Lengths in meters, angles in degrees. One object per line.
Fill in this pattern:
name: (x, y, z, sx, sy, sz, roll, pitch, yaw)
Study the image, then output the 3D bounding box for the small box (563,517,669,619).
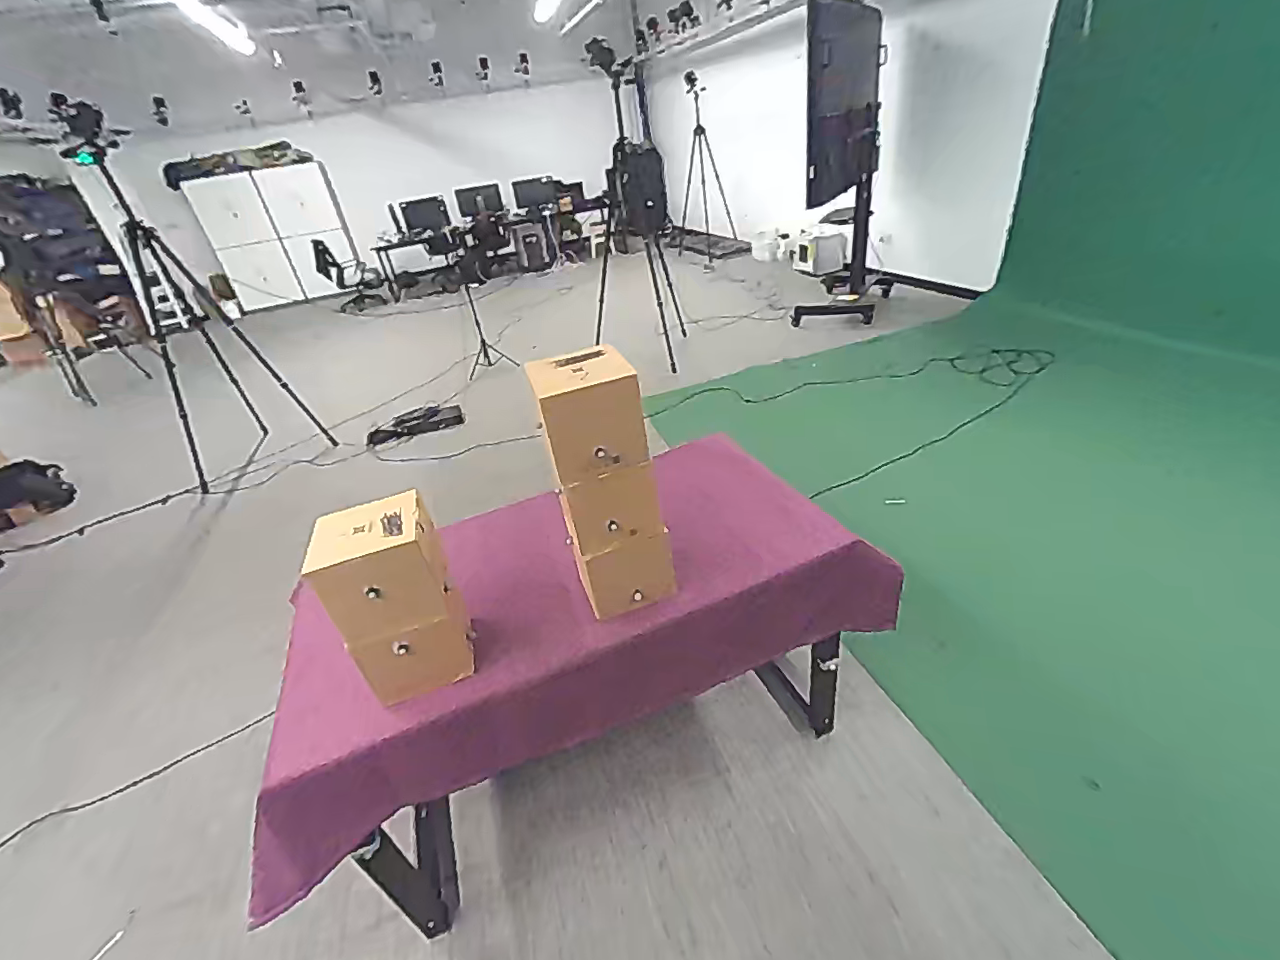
small box: (-0.047, 0.158, 1.134, 0.179, 0.176, 0.168, -17, 33, -13)

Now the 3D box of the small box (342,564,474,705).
small box: (-0.432, 0.292, 1.027, 0.179, 0.176, 0.168, -17, 34, -12)

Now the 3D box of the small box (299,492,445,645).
small box: (-0.450, 0.153, 0.943, 0.179, 0.176, 0.168, -19, 34, -11)

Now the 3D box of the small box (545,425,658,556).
small box: (-0.075, 0.018, 1.055, 0.168, 0.176, 0.179, -18, 34, -12)
